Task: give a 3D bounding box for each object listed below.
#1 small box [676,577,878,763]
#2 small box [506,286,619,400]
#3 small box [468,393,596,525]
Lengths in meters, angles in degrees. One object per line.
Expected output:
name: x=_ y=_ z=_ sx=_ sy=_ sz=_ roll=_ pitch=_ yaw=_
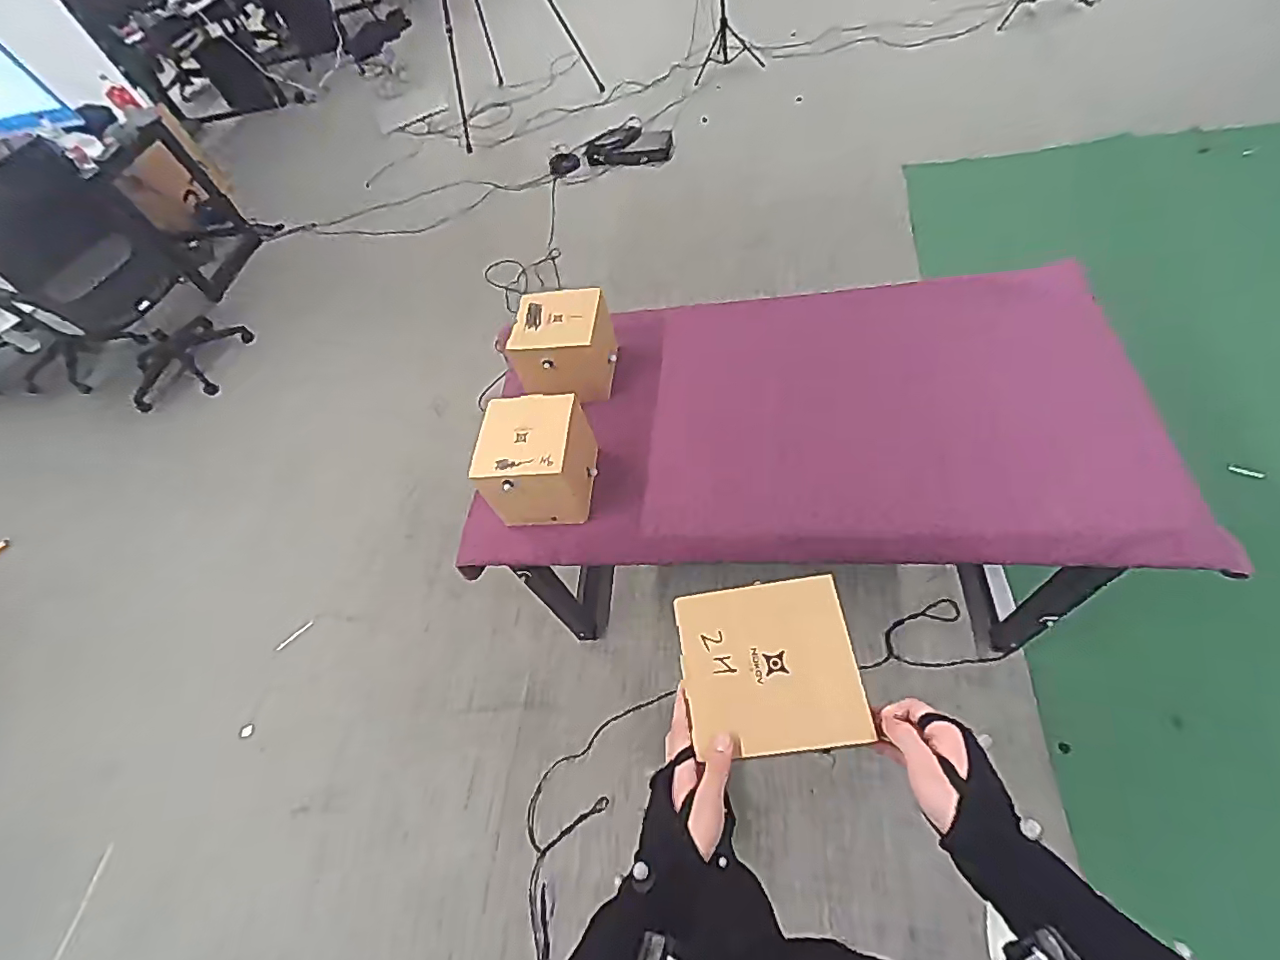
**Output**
small box: x=0.144 y=0.221 z=0.616 sx=0.179 sy=0.176 sz=0.168 roll=-10 pitch=61 yaw=7
small box: x=-0.155 y=-0.280 z=1.138 sx=0.179 sy=0.176 sz=0.168 roll=0 pitch=58 yaw=11
small box: x=-0.184 y=-0.035 z=0.985 sx=0.168 sy=0.176 sz=0.179 roll=-2 pitch=56 yaw=11
